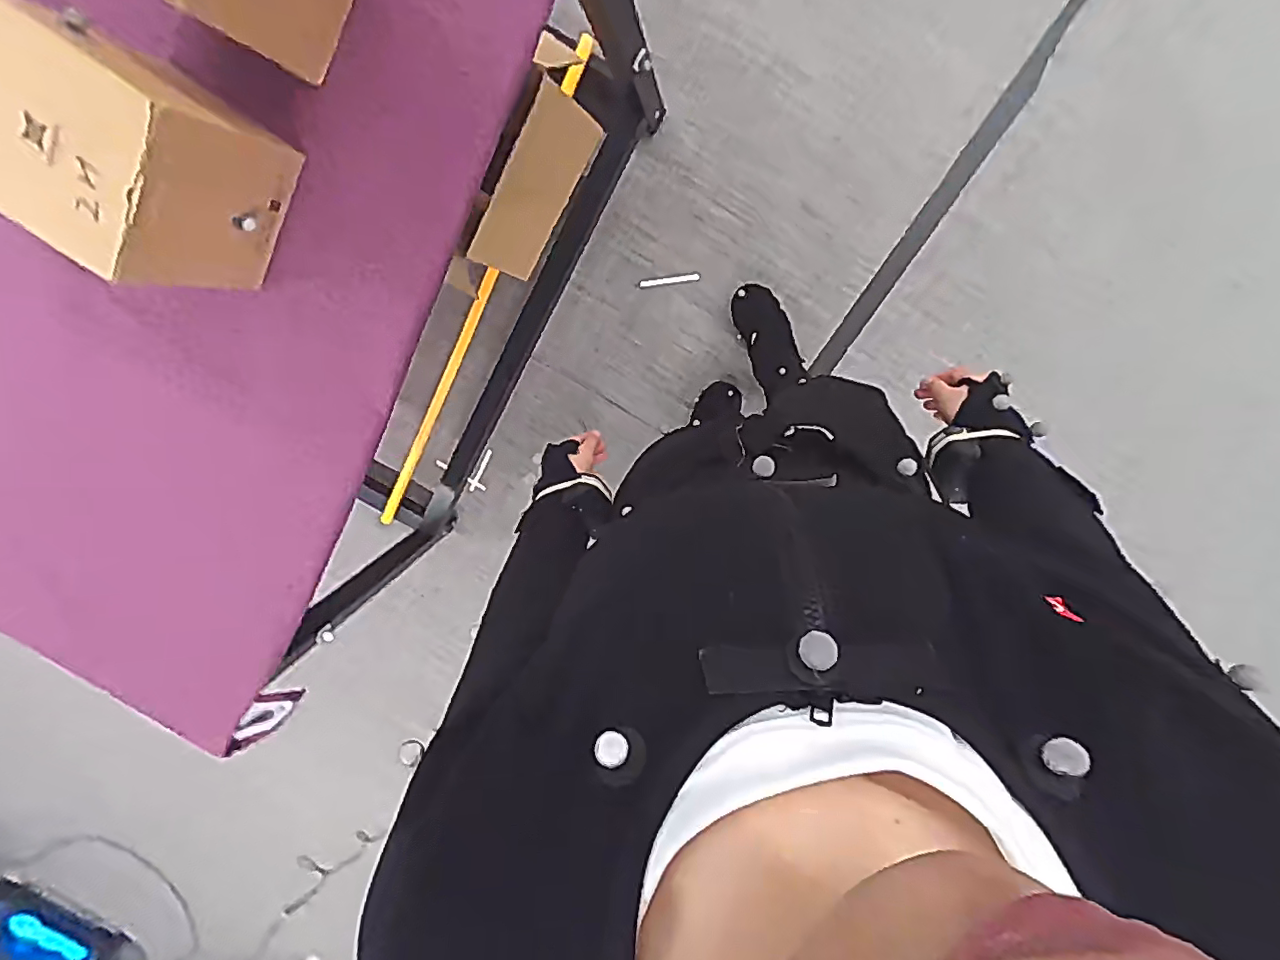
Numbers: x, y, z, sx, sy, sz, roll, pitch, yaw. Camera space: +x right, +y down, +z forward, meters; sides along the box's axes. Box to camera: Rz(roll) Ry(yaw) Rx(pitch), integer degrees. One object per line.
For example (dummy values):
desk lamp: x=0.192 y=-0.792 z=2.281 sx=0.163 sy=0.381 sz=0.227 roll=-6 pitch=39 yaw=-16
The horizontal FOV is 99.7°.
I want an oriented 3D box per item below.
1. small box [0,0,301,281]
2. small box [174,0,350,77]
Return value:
small box: x=-0.489 y=-0.312 z=0.531 sx=0.179 sy=0.176 sz=0.168 roll=34 pitch=109 yaw=-3
small box: x=-0.361 y=-0.502 z=0.455 sx=0.168 sy=0.176 sz=0.179 roll=36 pitch=109 yaw=-3
